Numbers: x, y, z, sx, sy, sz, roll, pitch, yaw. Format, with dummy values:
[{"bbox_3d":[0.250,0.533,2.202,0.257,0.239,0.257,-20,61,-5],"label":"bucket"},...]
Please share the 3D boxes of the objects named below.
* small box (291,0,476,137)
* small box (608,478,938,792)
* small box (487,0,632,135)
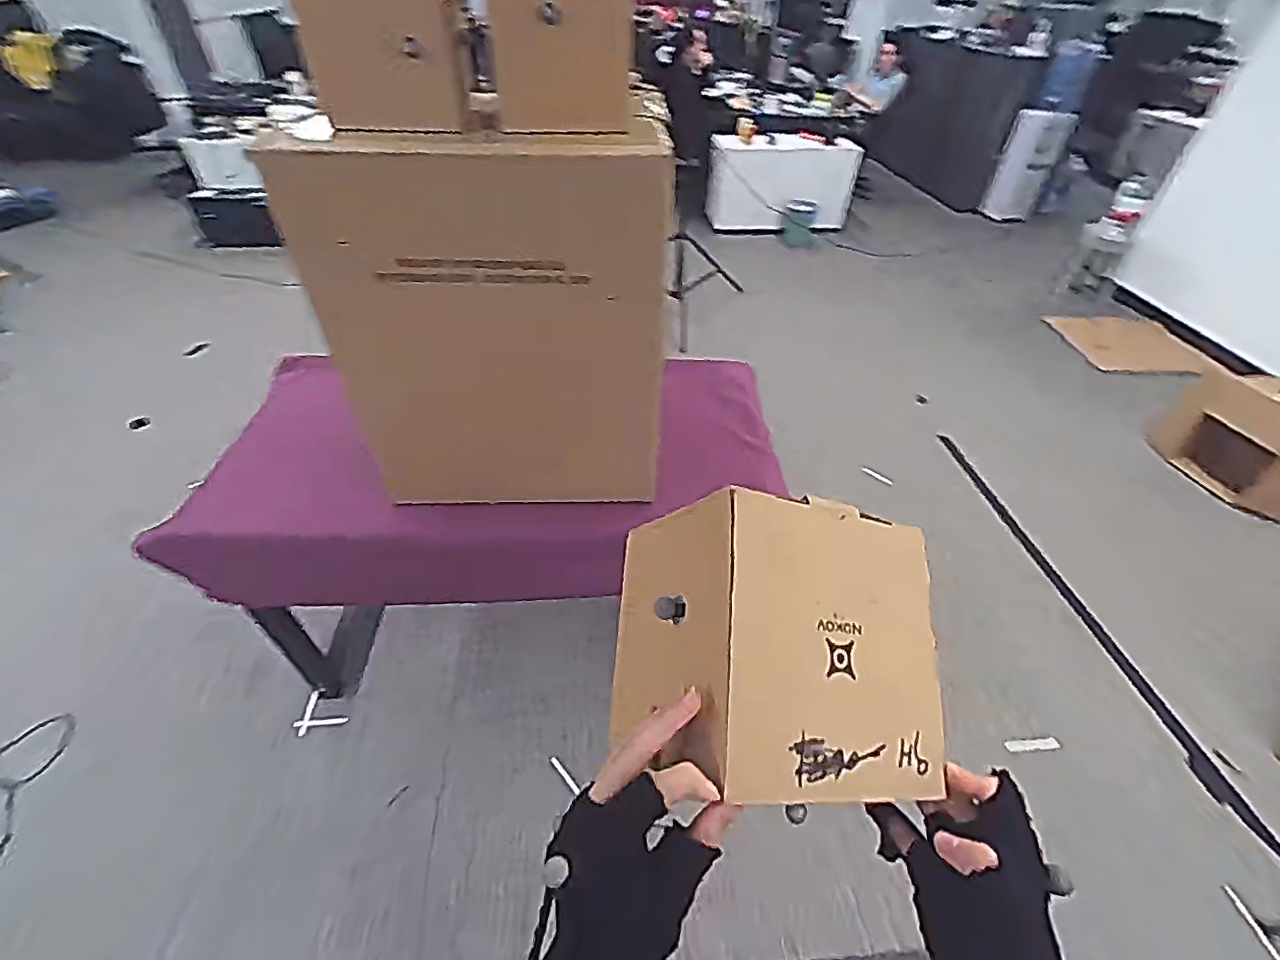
[{"bbox_3d":[-0.326,-0.572,0.721,0.179,0.176,0.168,-3,42,-5],"label":"small box"},{"bbox_3d":[0.083,0.117,0.404,0.168,0.176,0.179,12,69,-21],"label":"small box"},{"bbox_3d":[-0.104,-0.583,0.739,0.179,0.176,0.168,-3,43,-5],"label":"small box"}]
